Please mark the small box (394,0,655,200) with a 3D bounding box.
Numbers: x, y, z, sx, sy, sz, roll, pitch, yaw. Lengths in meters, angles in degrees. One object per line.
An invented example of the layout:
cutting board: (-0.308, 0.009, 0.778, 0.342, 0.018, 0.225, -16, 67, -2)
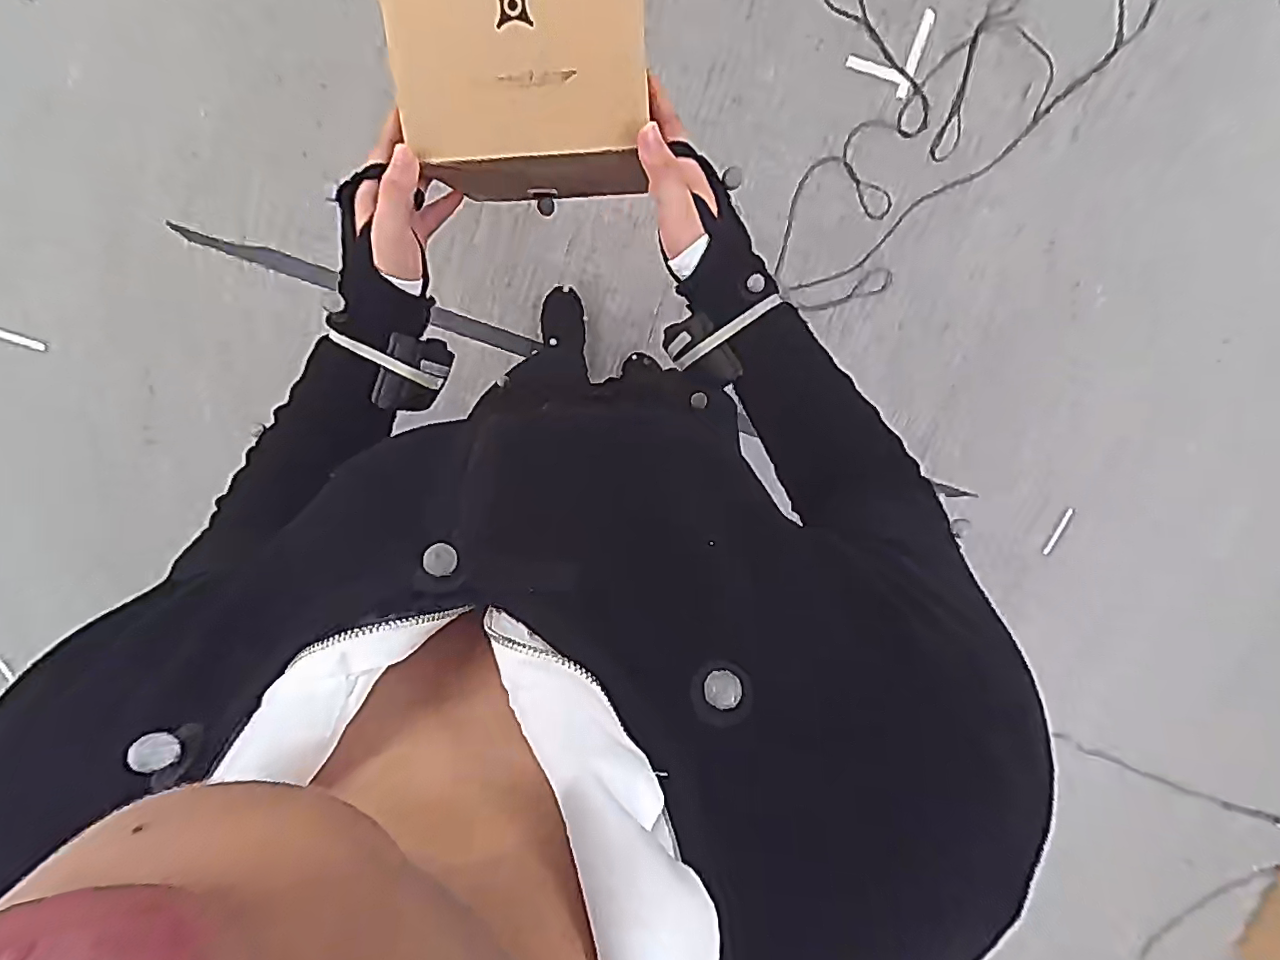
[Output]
small box: (-0.074, -0.330, 0.417, 0.168, 0.176, 0.179, -2, 109, 1)
